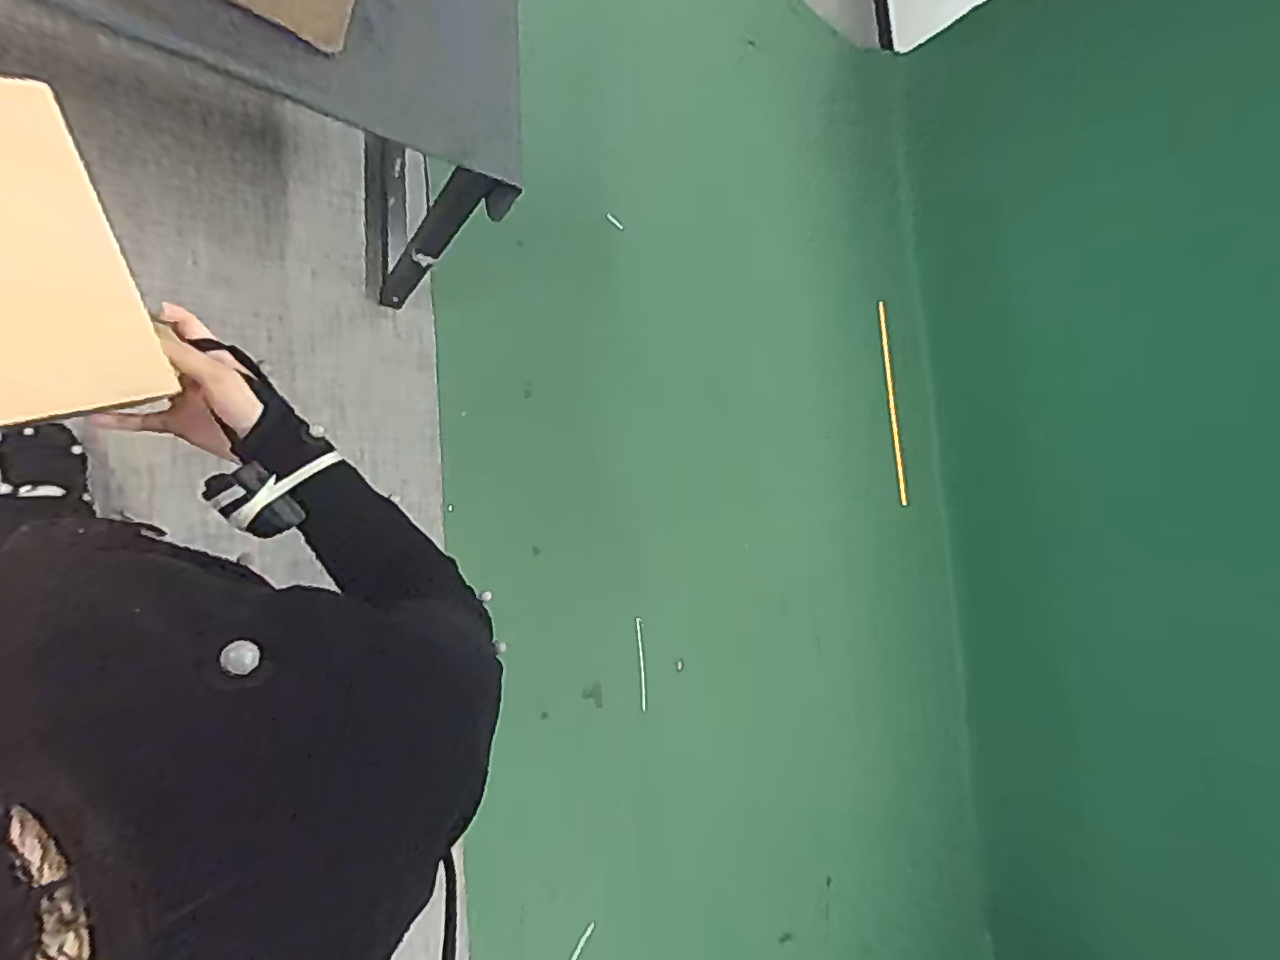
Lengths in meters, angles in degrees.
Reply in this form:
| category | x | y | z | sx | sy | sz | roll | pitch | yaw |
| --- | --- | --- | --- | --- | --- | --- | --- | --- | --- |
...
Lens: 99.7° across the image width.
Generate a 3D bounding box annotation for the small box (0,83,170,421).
| category | x | y | z | sx | sy | sz | roll | pitch | yaw |
| --- | --- | --- | --- | --- | --- | --- | --- | --- | --- |
| small box | -0.419 | -0.113 | 0.309 | 0.179 | 0.176 | 0.168 | -26 | 114 | -41 |
